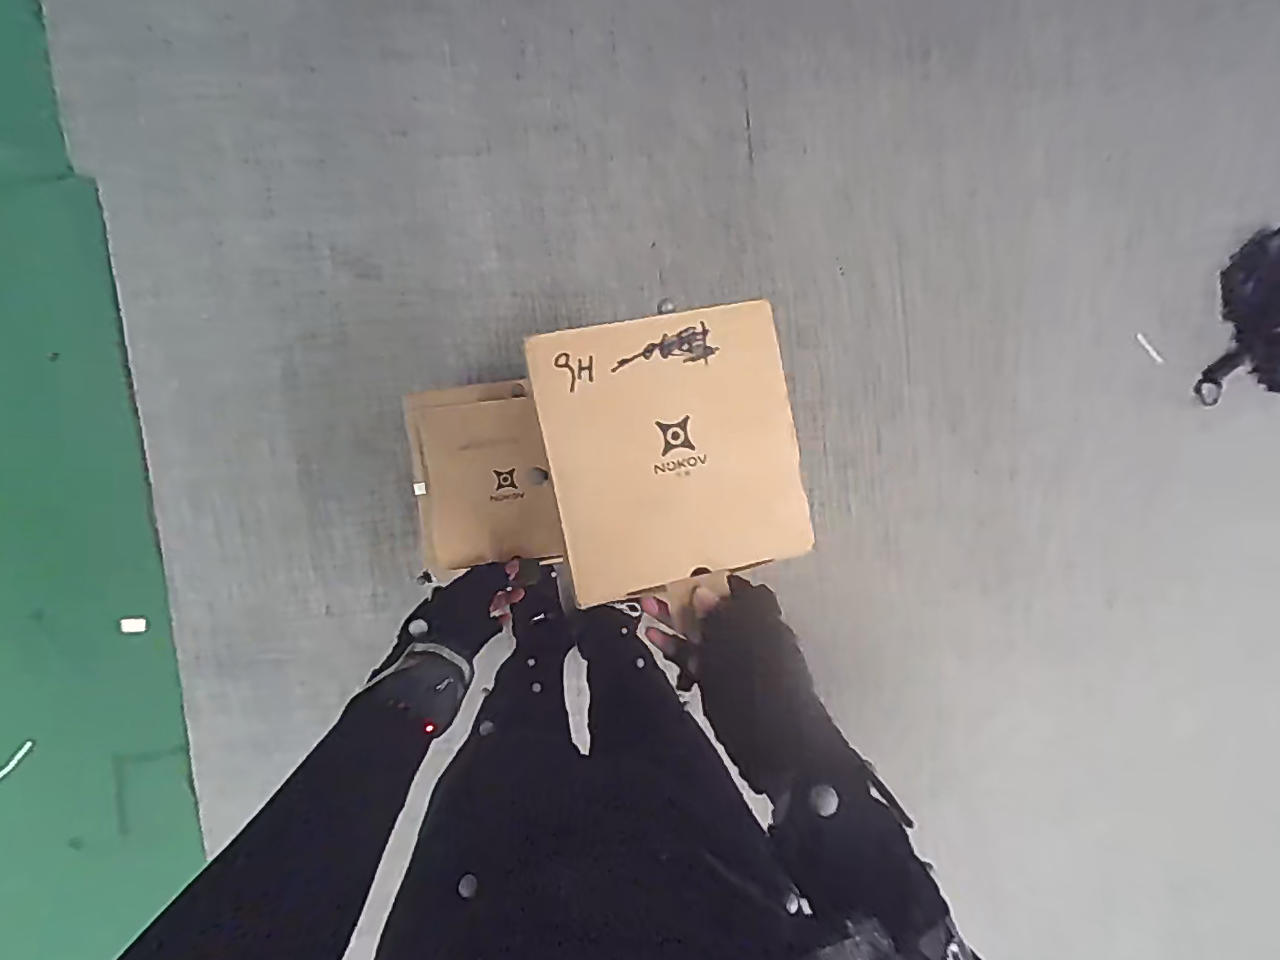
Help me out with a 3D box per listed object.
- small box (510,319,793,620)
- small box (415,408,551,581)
[{"bbox_3d":[-0.001,-0.012,0.436,0.168,0.176,0.179,-13,94,-10],"label":"small box"},{"bbox_3d":[-0.150,0.003,0.652,0.168,0.176,0.179,-8,98,-6],"label":"small box"}]
